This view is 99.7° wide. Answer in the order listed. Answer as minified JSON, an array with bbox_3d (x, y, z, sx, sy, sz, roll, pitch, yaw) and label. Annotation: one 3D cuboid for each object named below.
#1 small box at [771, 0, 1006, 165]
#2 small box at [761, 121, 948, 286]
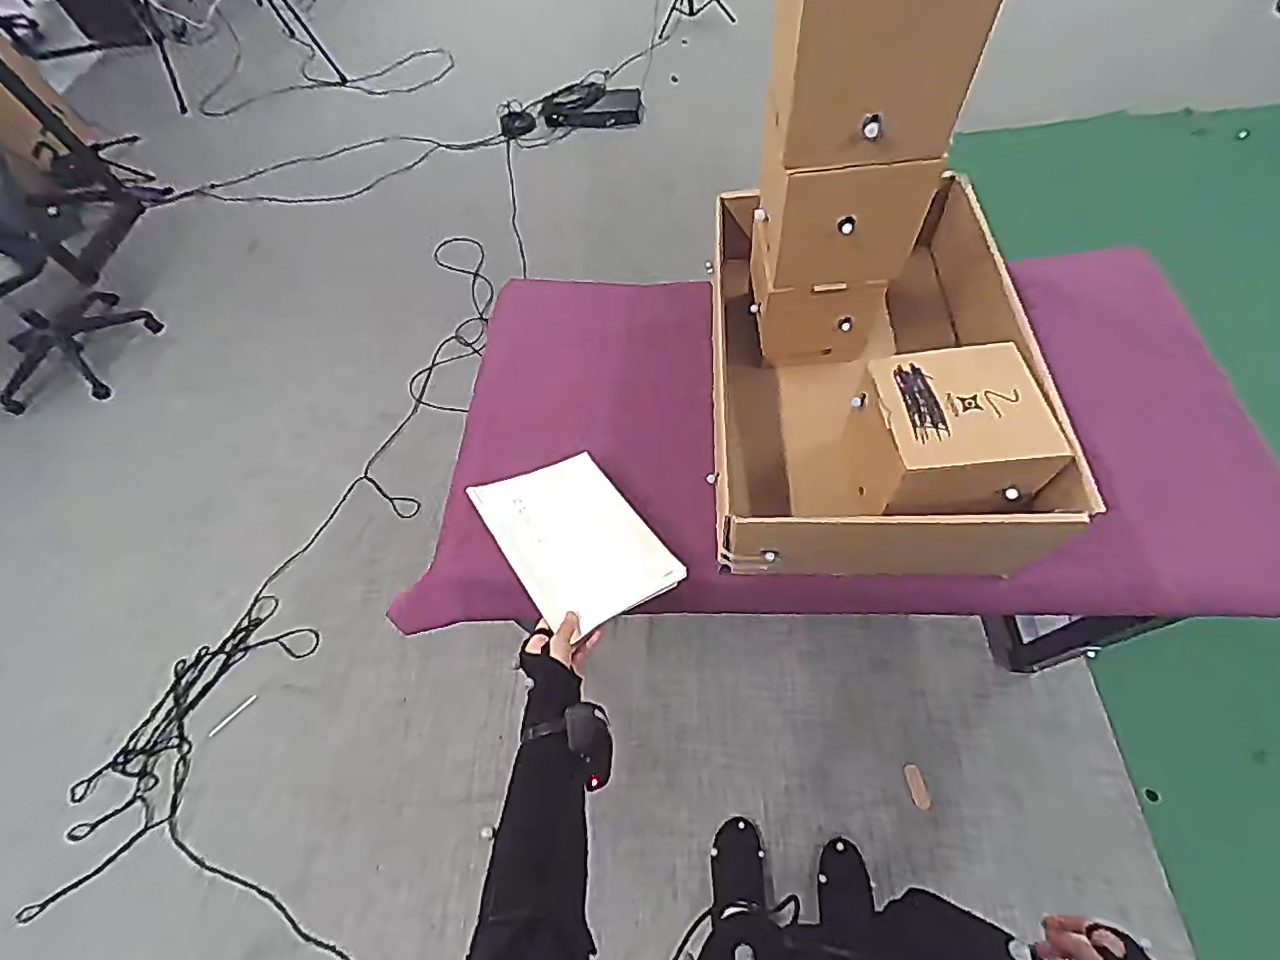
[{"bbox_3d":[0.241,-0.460,0.566,0.179,0.176,0.168,-1,61,6],"label":"small box"},{"bbox_3d":[0.261,-0.378,0.707,0.179,0.176,0.168,-3,61,6],"label":"small box"}]
